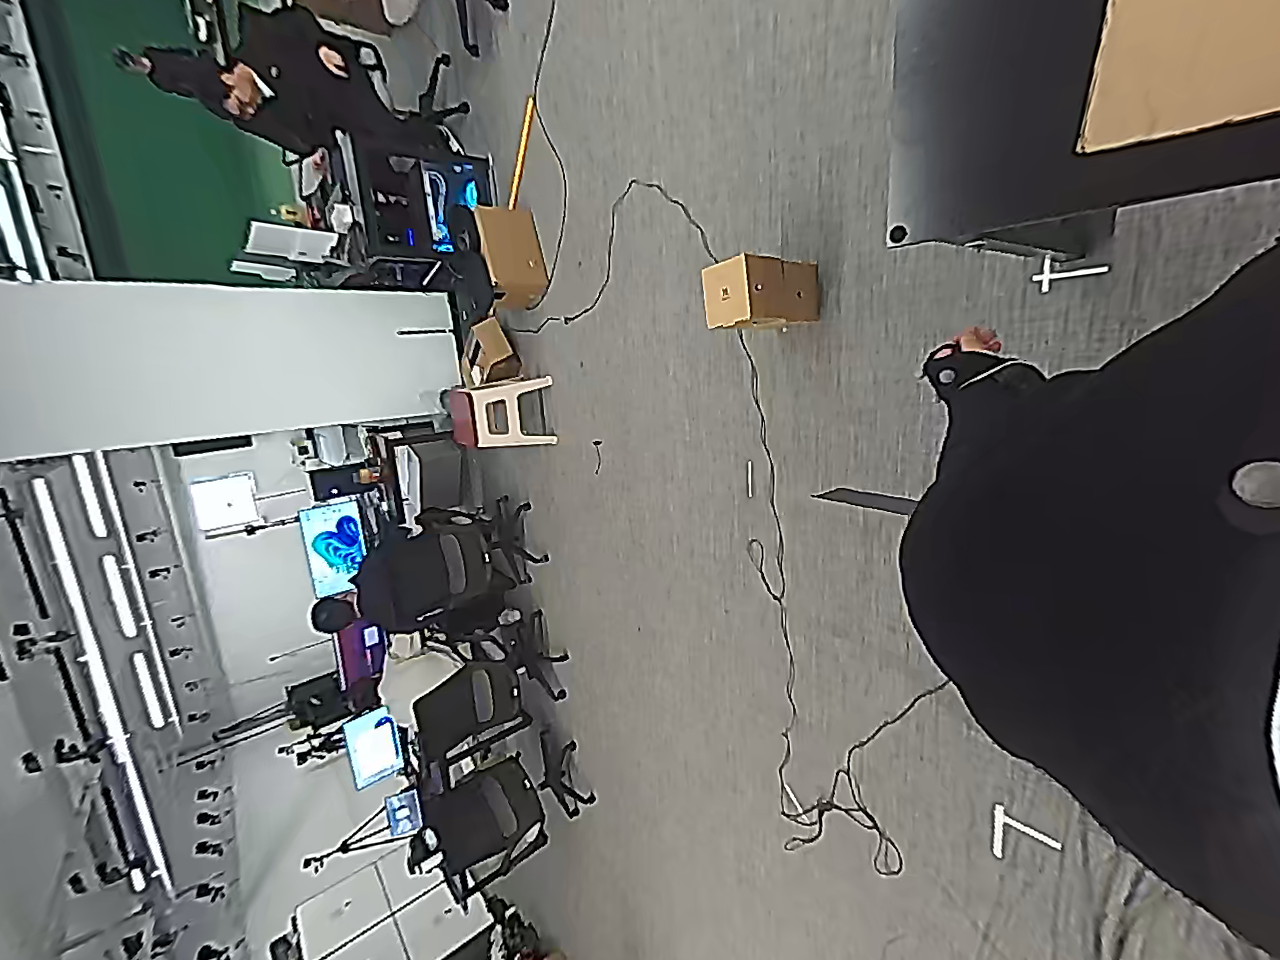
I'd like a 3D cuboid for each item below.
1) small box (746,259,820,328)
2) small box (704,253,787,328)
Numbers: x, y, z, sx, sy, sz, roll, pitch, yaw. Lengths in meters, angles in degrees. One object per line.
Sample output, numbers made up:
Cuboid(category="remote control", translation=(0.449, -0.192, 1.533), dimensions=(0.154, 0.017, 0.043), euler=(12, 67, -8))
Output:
Cuboid(category="small box", translation=(0.439, -0.572, 1.675), dimensions=(0.168, 0.176, 0.179), euler=(8, 107, 52))
Cuboid(category="small box", translation=(0.312, -0.548, 1.577), dimensions=(0.168, 0.176, 0.179), euler=(3, 102, 51))
